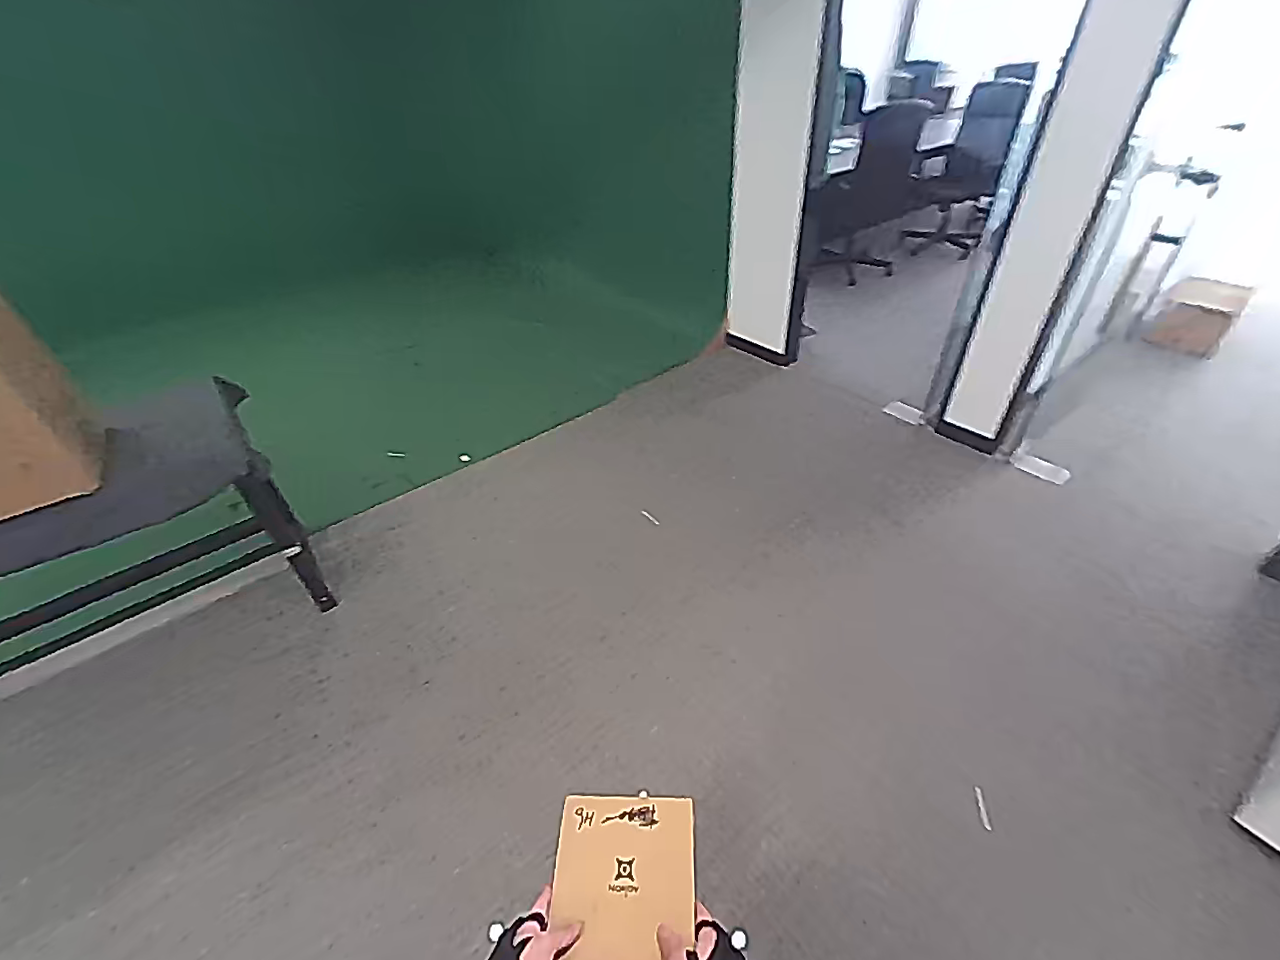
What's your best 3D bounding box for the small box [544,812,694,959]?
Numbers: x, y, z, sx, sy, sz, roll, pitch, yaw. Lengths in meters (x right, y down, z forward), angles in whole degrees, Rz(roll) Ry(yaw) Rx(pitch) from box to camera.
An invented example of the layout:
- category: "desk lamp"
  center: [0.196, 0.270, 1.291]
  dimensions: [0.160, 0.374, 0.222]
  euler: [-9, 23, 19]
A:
- category: "small box"
  center: [-0.018, 0.548, 0.685]
  dimensions: [0.168, 0.176, 0.179]
  euler: [-4, 40, 2]
